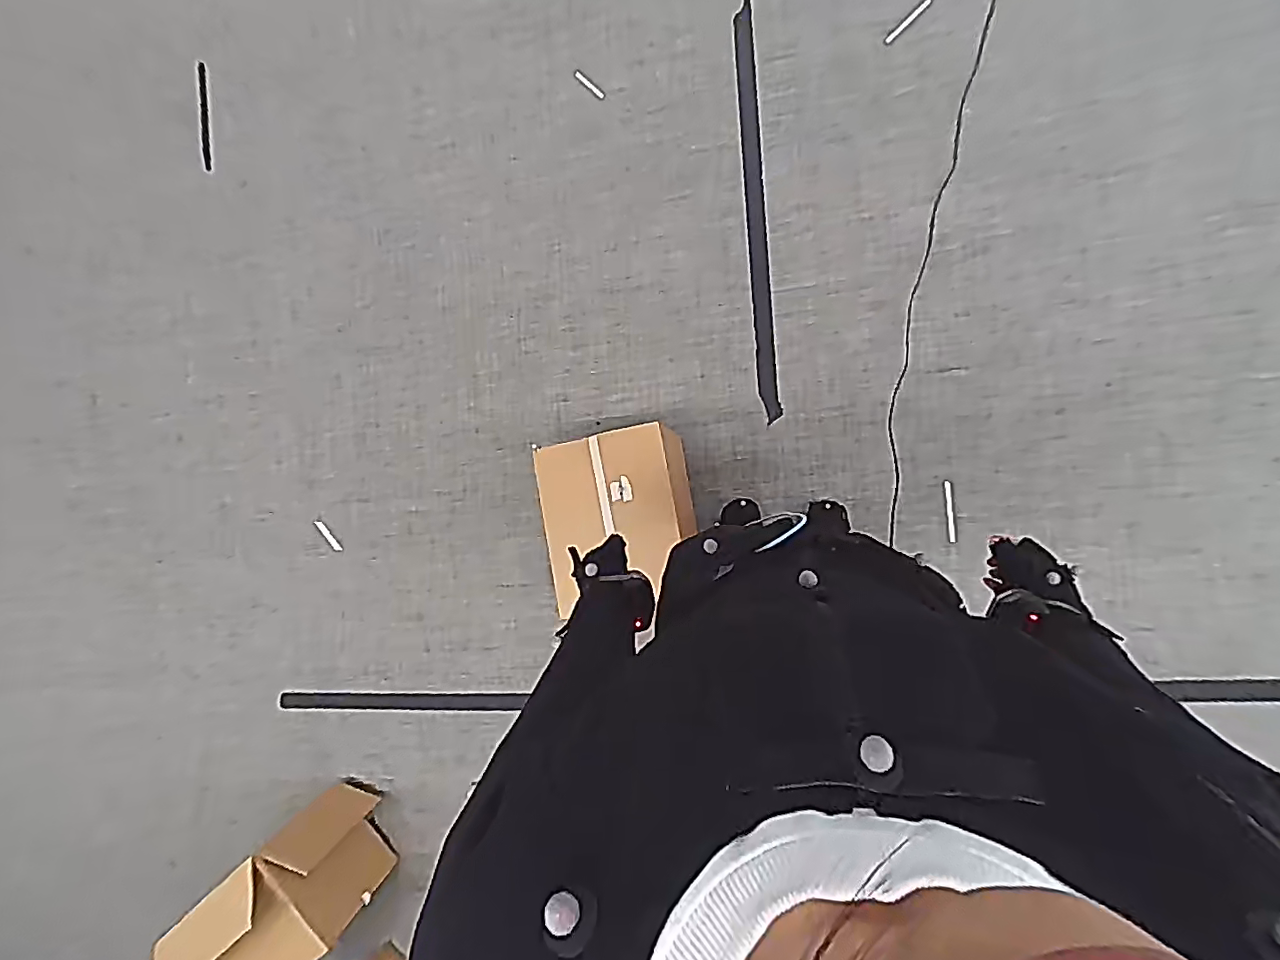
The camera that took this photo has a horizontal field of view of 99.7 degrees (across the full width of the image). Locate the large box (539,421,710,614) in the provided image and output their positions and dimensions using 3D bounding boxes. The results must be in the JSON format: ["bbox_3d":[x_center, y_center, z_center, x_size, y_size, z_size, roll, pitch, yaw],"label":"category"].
[{"bbox_3d":[-0.025,0.097,1.383,0.320,0.320,0.408,-11,84,12],"label":"large box"}]
